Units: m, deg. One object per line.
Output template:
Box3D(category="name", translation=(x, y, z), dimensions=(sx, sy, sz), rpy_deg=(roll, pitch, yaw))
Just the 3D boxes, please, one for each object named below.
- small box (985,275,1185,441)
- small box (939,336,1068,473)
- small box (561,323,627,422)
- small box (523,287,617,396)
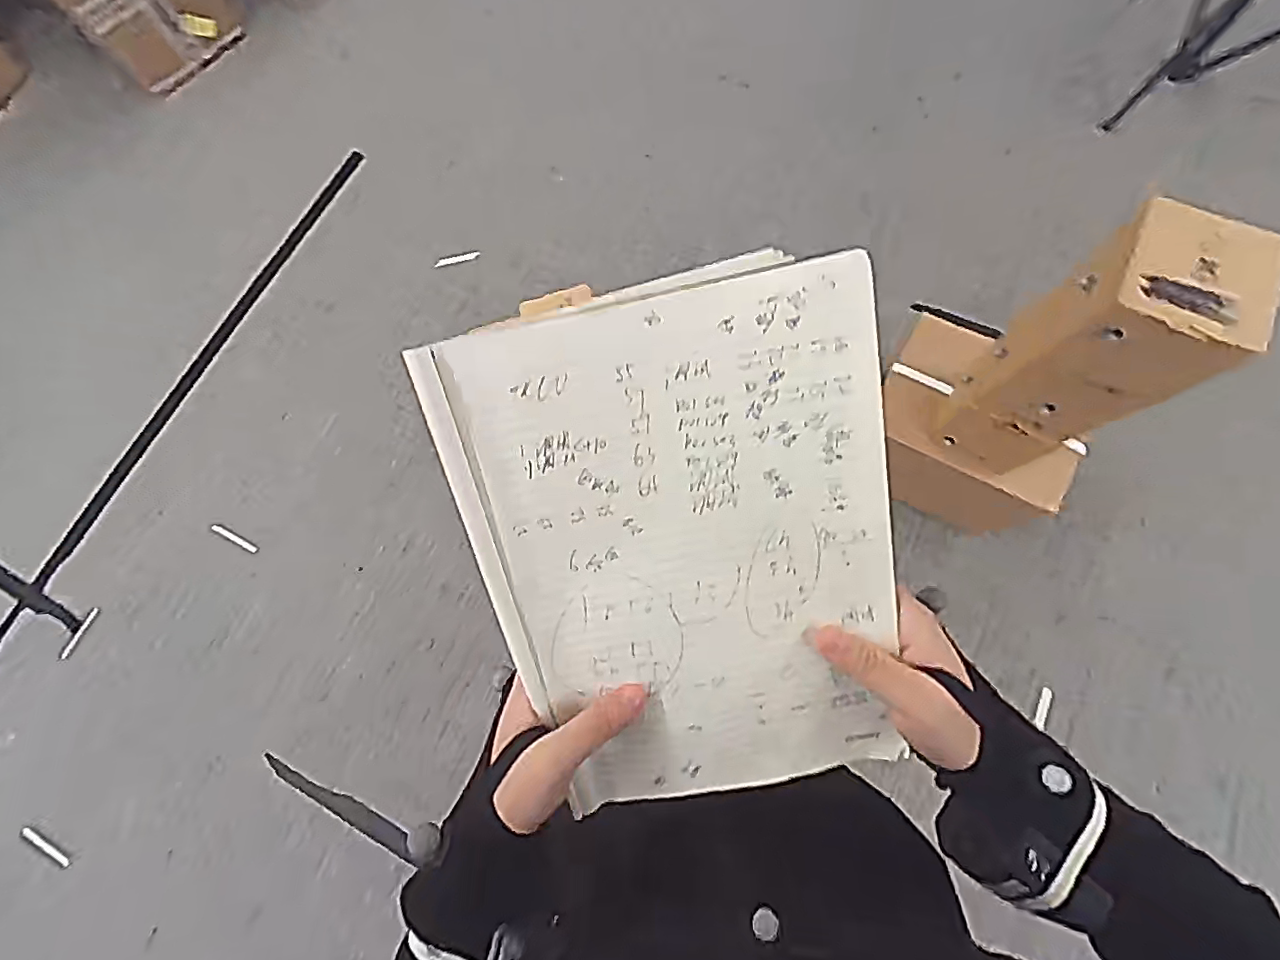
Box3D(category="small box", translation=(0.705, -0.187, 0.881), dimensions=(0.168, 0.176, 0.179), rpy_deg=(28, 80, 10))
Box3D(category="small box", translation=(0.710, -0.137, 1.037), dimensions=(0.168, 0.176, 0.179), rpy_deg=(31, 79, 11))
Box3D(category="small box", translation=(-0.139, -0.280, 1.437), dimensions=(0.168, 0.176, 0.179), rpy_deg=(-19, 76, -2))
Box3D(category="small box", translation=(-0.159, -0.316, 1.276), dimensions=(0.168, 0.176, 0.179), rpy_deg=(-18, 75, -3))
